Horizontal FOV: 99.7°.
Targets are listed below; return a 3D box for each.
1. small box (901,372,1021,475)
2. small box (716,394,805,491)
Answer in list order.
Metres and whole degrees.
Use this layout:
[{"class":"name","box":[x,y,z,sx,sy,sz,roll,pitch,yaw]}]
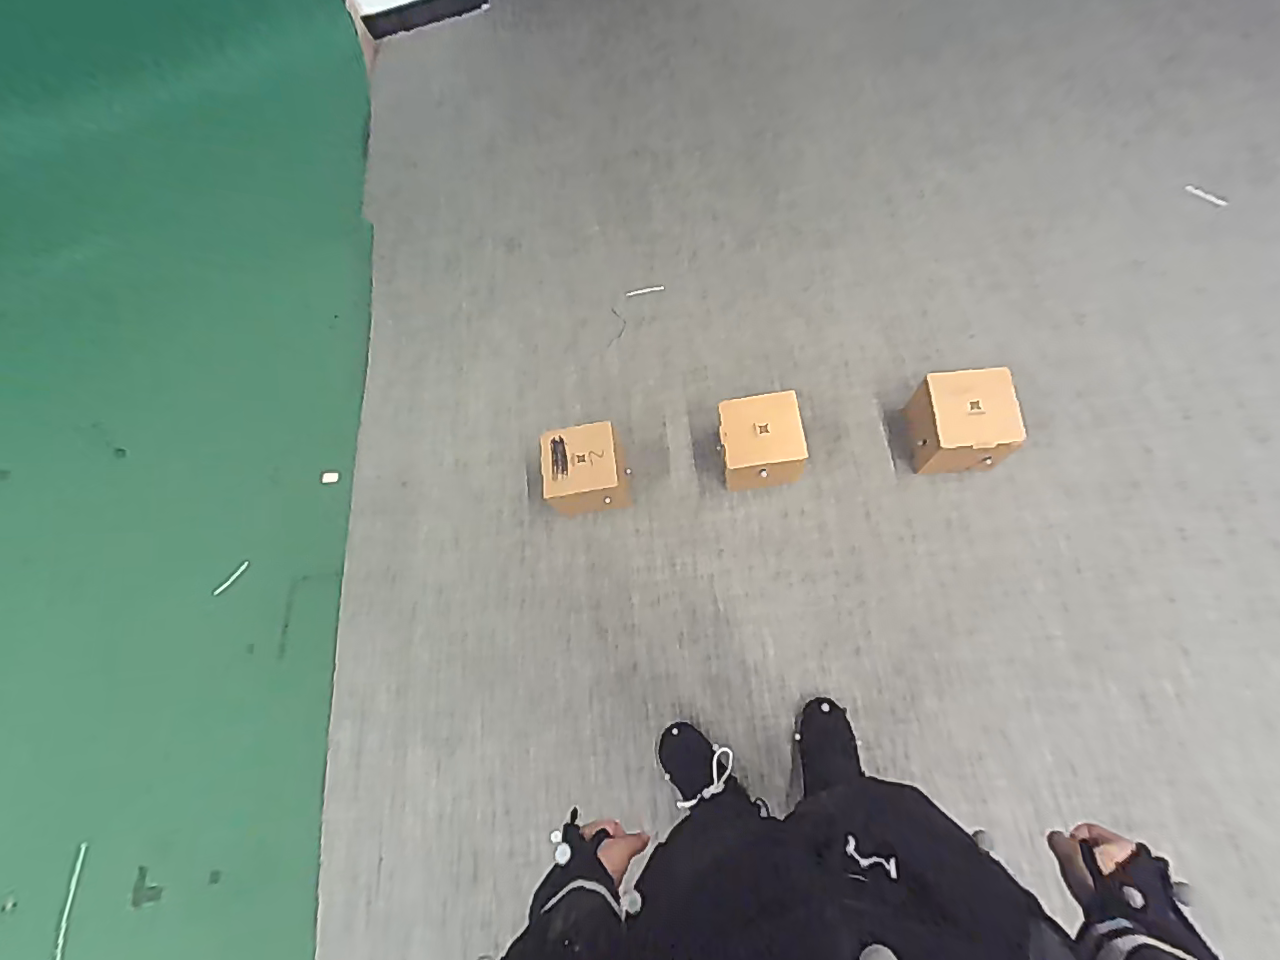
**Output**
[{"class":"small box","box":[0.699,-0.116,1.199,0.168,0.176,0.179,-3,70,7]},{"class":"small box","box":[0.274,-0.081,1.260,0.179,0.176,0.168,-8,71,8]}]
